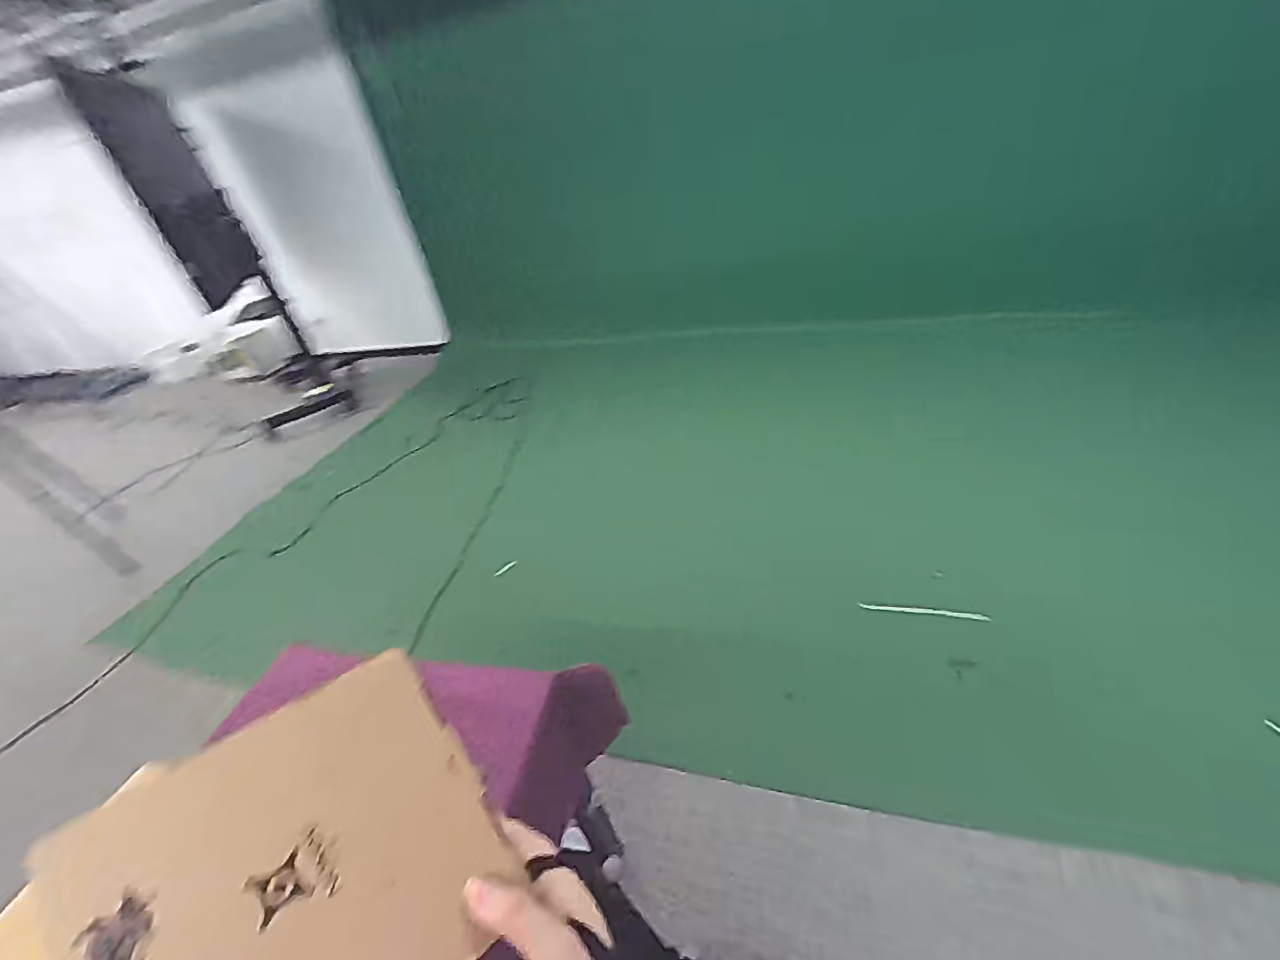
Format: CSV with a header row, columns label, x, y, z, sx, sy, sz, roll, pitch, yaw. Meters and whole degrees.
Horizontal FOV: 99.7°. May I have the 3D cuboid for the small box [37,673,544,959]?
label,x,y,z,sx,sy,sz,roll,pitch,yaw
small box,-0.182,0.255,0.322,0.179,0.176,0.168,-26,63,-33

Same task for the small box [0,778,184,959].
label,x,y,z,sx,sy,sz,roll,pitch,yaw
small box,-0.439,0.419,0.513,0.179,0.176,0.168,1,37,17
